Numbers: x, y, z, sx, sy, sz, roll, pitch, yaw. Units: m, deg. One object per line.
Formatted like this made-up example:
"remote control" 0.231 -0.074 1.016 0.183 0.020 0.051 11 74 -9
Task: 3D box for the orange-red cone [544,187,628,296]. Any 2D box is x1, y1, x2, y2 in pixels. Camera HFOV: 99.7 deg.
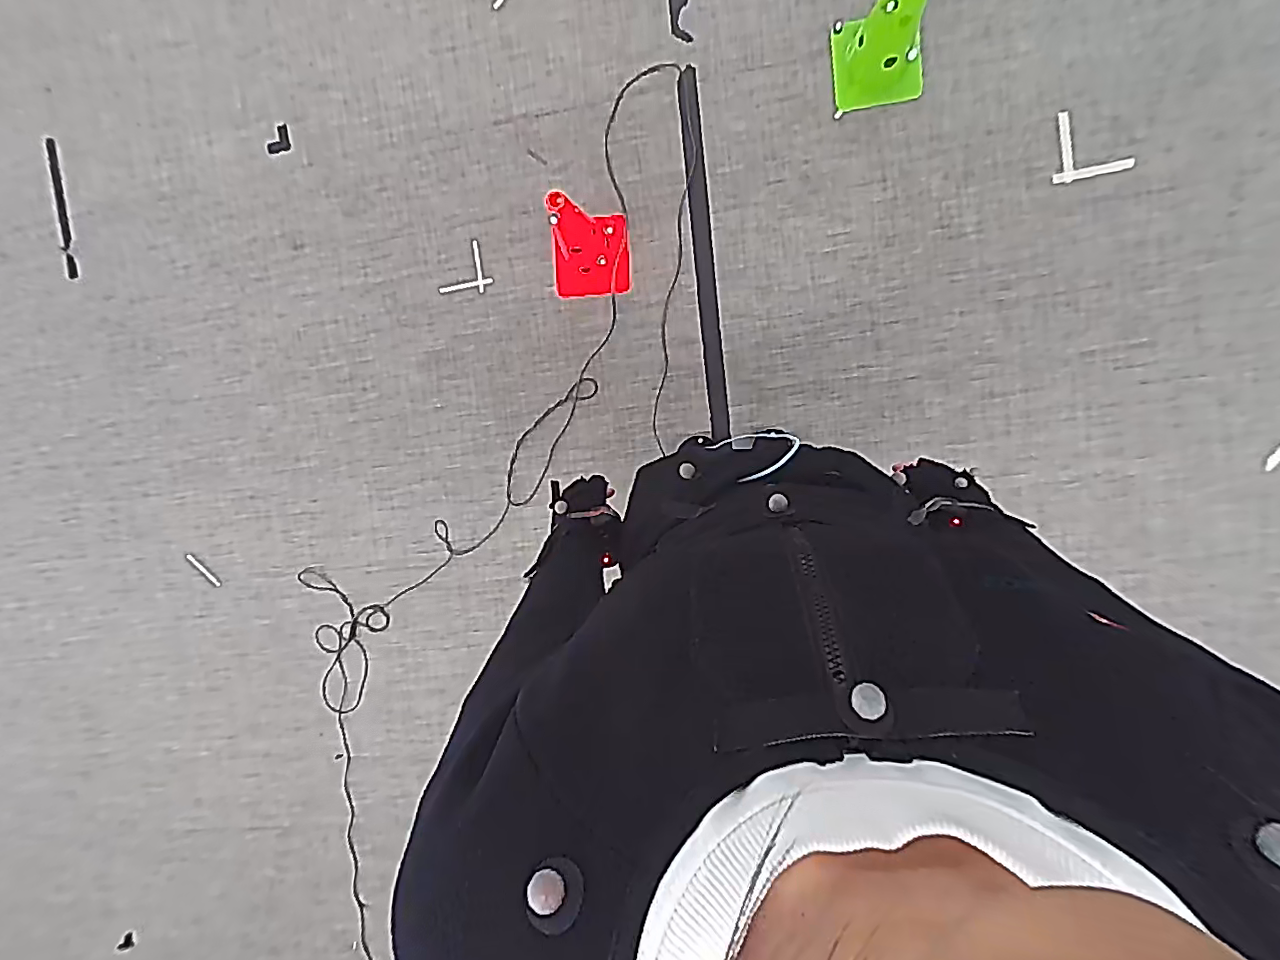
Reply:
"orange-red cone" -0.151 -0.571 1.239 0.199 0.360 0.198 -1 94 8

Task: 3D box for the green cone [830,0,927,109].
"green cone" 0.541 -0.980 1.112 0.202 0.368 0.200 -6 95 6
